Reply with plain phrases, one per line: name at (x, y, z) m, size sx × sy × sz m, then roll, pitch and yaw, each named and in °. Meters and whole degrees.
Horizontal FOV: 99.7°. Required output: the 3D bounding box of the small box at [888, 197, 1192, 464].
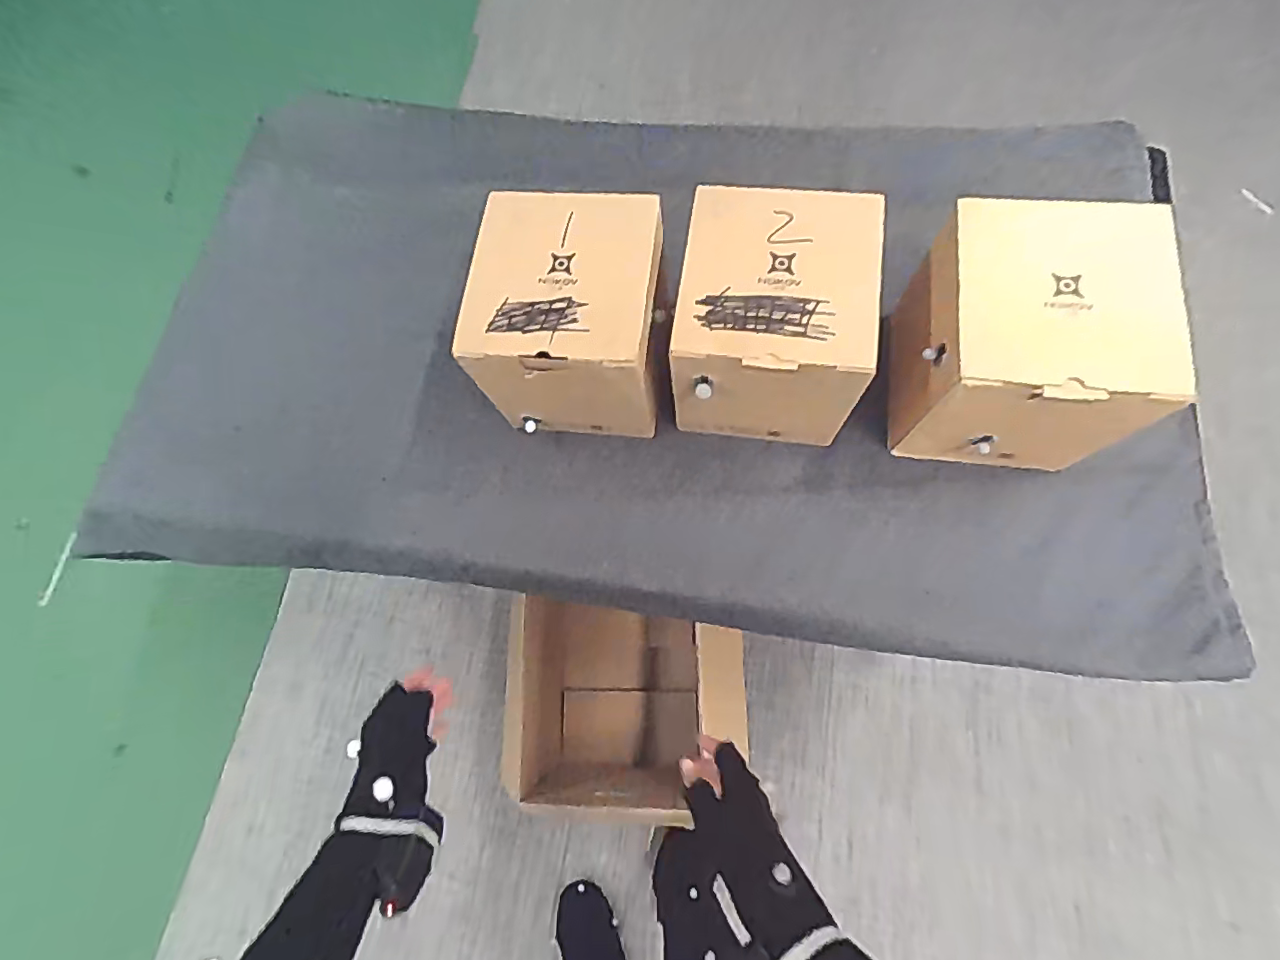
small box at (0.345, -0.129, 0.507) m, size 0.168 × 0.176 × 0.179 m, roll 5°, pitch 75°, yaw 8°

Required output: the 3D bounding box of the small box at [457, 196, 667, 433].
small box at (-0.063, -0.159, 0.559) m, size 0.168 × 0.176 × 0.179 m, roll 5°, pitch 74°, yaw 7°
